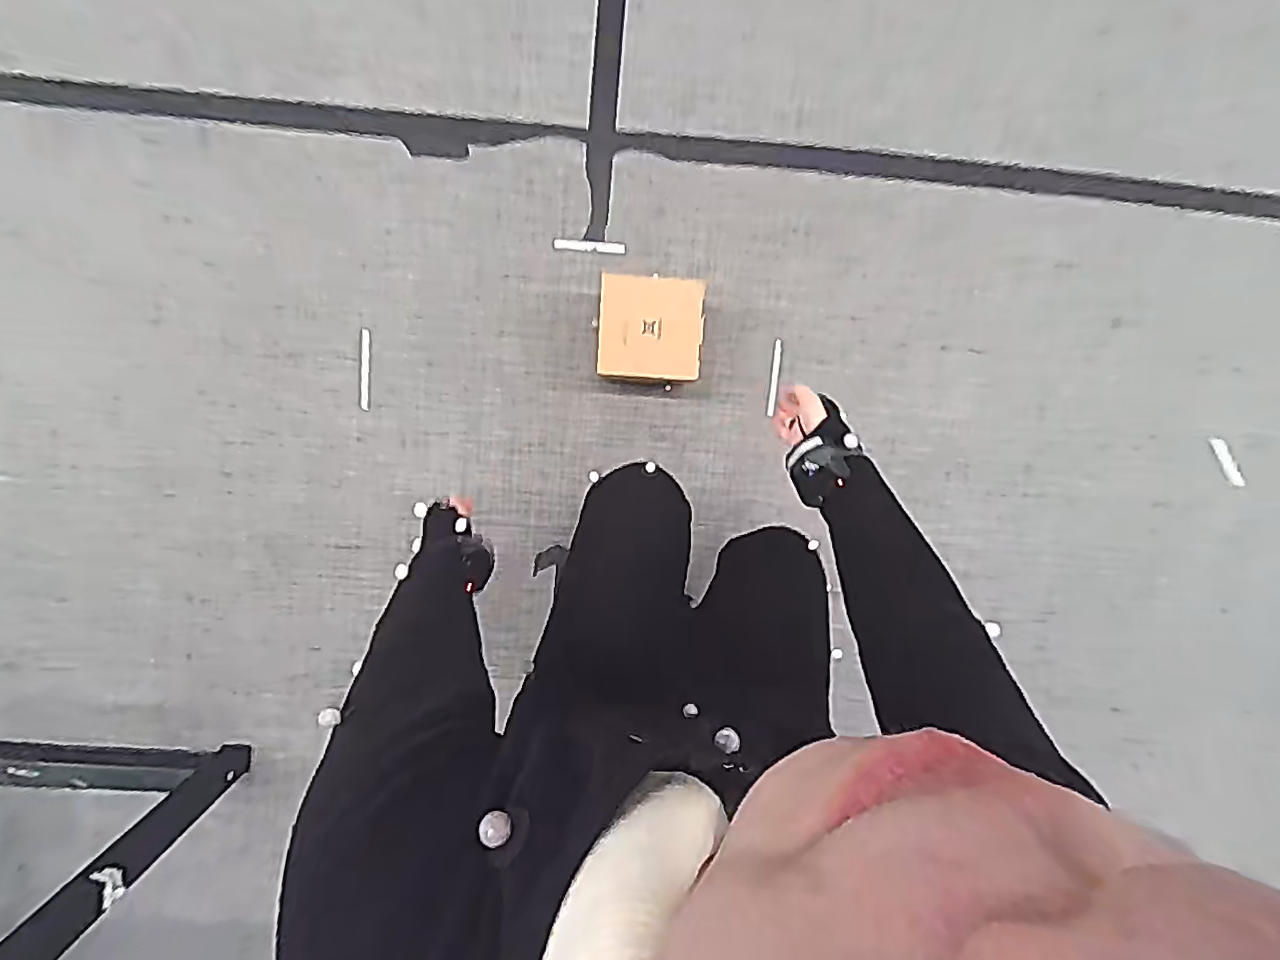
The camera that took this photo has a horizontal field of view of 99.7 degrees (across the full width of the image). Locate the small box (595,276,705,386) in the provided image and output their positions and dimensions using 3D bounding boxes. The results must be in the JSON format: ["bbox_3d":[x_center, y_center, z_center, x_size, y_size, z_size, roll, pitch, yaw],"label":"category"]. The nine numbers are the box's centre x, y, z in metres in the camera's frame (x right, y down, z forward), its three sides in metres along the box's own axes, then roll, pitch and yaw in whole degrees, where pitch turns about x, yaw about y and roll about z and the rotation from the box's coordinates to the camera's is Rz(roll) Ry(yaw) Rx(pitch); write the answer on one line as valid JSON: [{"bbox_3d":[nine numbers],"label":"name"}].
[{"bbox_3d":[0.012,-0.260,0.980,0.179,0.176,0.168,3,97,-4],"label":"small box"}]
